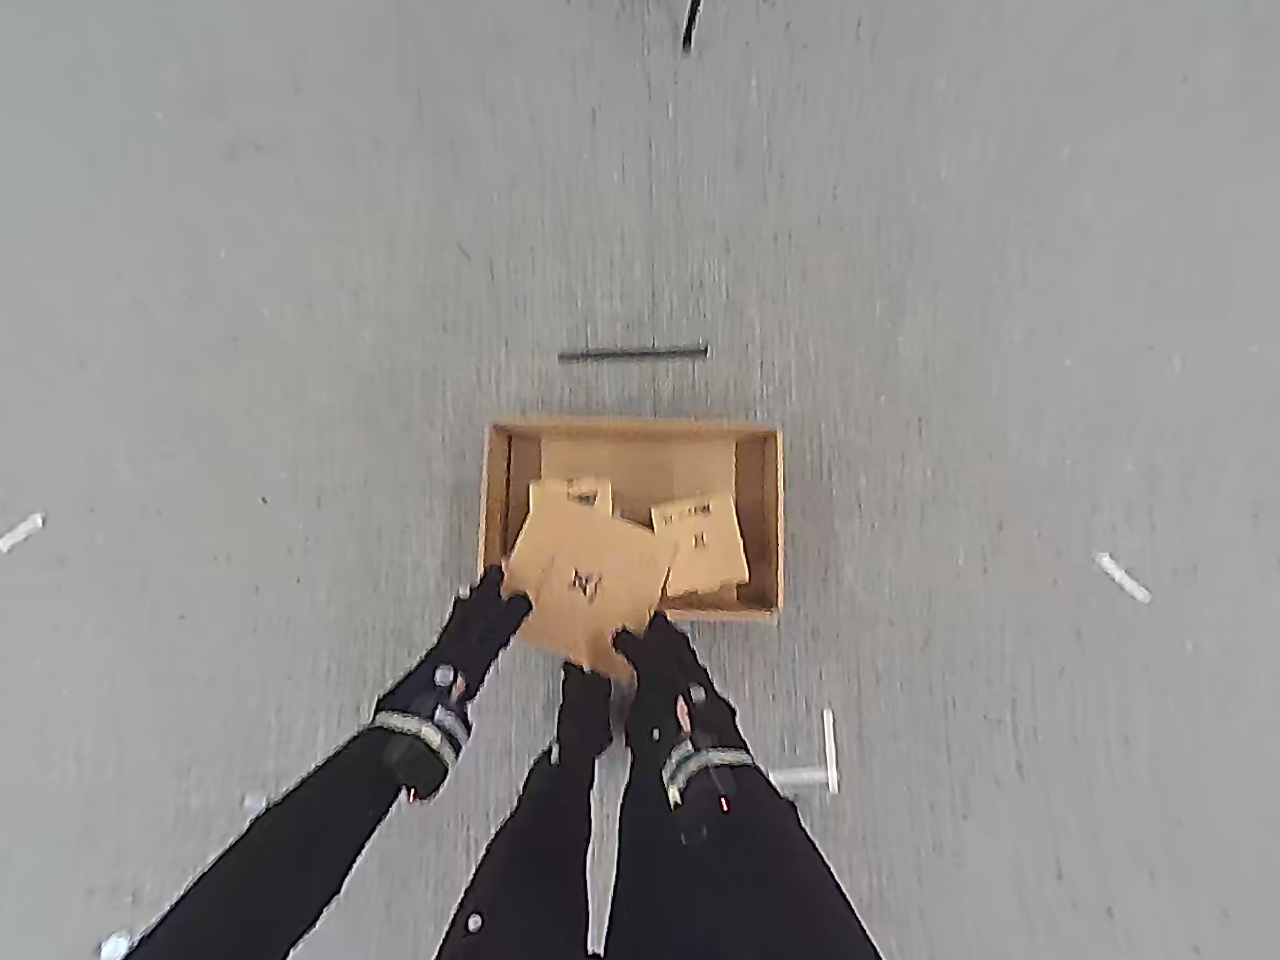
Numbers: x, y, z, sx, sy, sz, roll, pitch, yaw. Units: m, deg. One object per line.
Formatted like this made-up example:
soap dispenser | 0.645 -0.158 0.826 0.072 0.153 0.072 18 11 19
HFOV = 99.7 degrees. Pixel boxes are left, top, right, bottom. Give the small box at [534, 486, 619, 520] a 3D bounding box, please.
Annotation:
small box | -0.130 0.110 1.150 0.168 0.176 0.179 -1 83 -1

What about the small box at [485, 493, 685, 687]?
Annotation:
small box | -0.064 0.132 0.669 0.179 0.176 0.168 21 77 0
